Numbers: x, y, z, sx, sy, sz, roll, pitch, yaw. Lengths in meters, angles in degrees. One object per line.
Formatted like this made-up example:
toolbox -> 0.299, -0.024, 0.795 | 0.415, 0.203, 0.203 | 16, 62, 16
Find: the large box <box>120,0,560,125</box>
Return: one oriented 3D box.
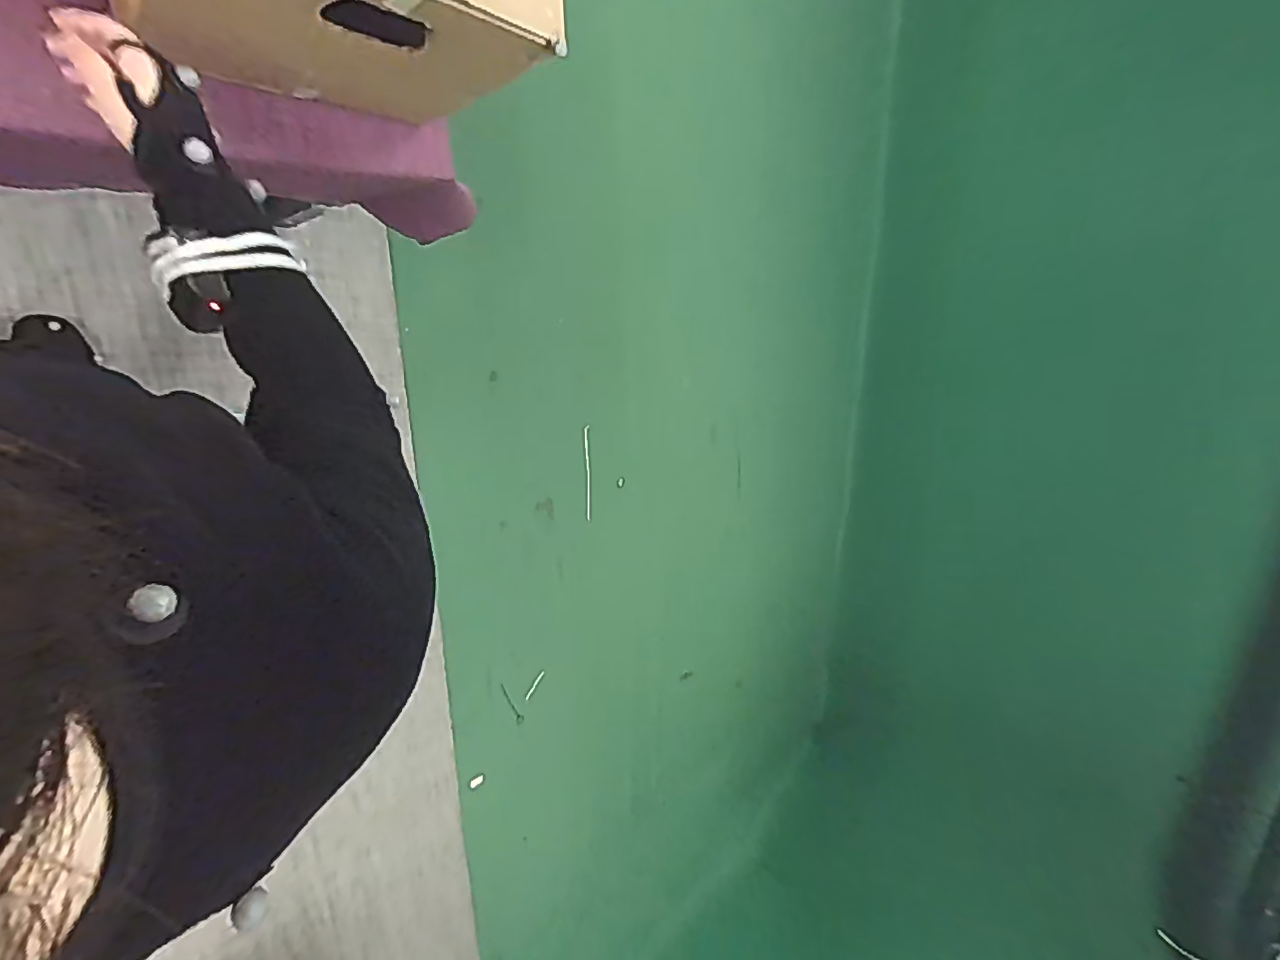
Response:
large box -> -0.299, -0.618, 0.493 | 0.320, 0.320, 0.408 | -18, 114, -44
